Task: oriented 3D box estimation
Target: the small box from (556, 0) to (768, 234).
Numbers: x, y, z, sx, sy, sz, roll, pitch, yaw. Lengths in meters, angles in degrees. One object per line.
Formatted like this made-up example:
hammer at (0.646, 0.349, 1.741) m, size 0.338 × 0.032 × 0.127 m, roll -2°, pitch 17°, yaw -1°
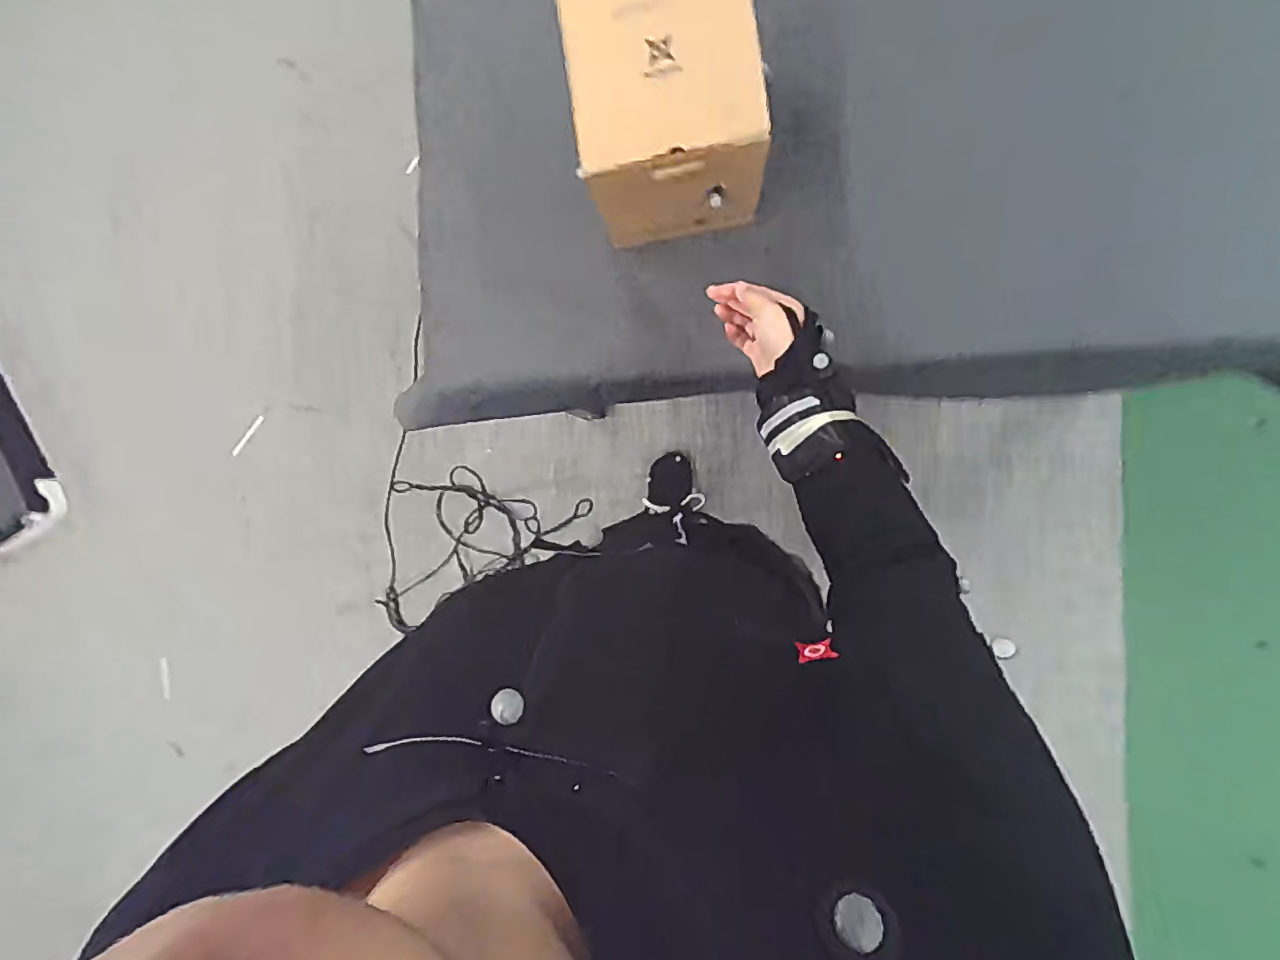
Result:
small box at (0.026, -0.369, 0.541) m, size 0.168 × 0.176 × 0.179 m, roll -9°, pitch 90°, yaw 6°
